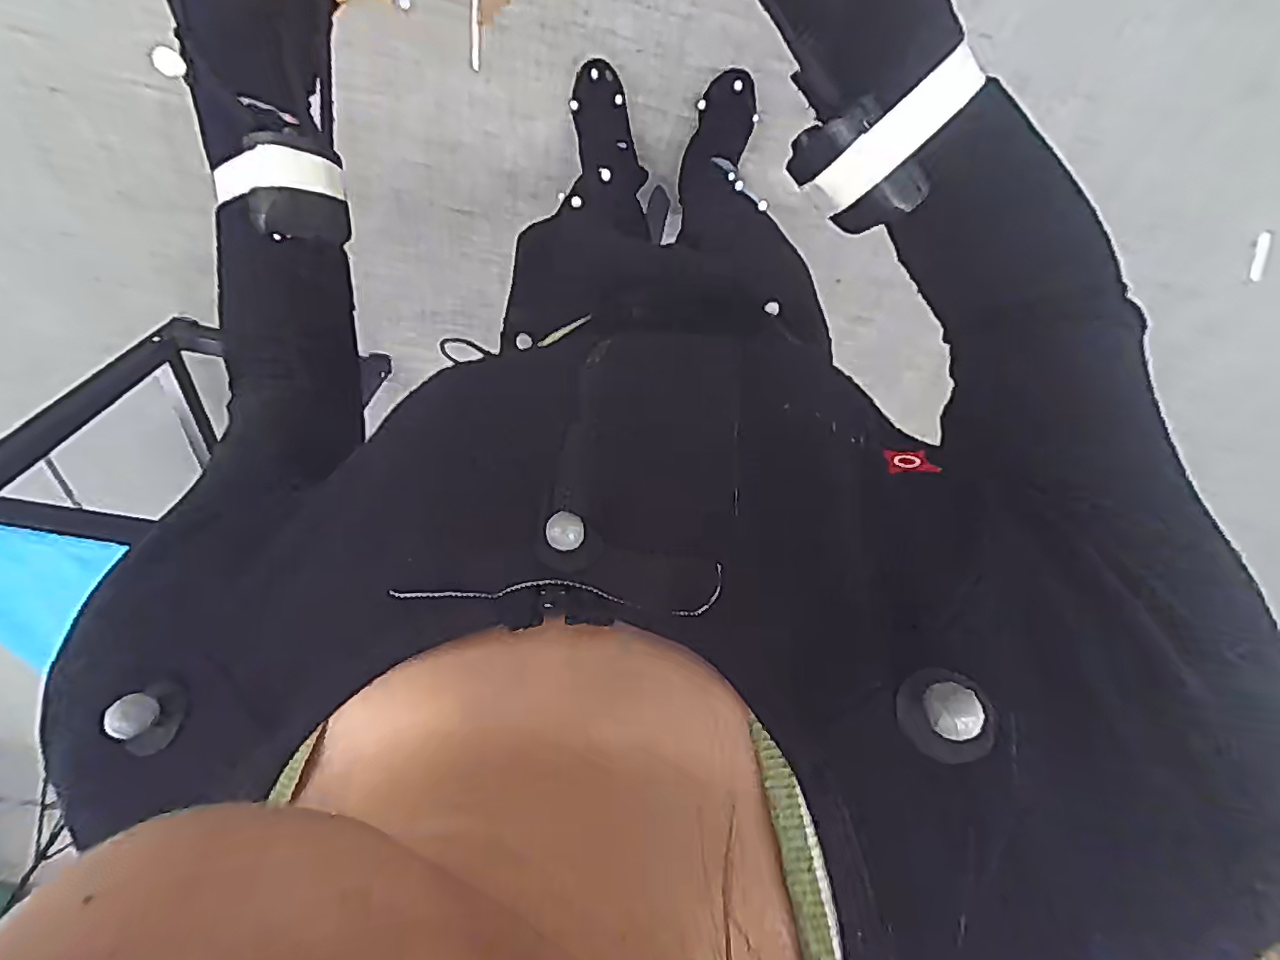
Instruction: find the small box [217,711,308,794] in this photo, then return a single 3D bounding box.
[{"bbox_3d":[-1.087,0.772,1.541,0.179,0.176,0.168,10,135,-9],"label":"small box"}]
